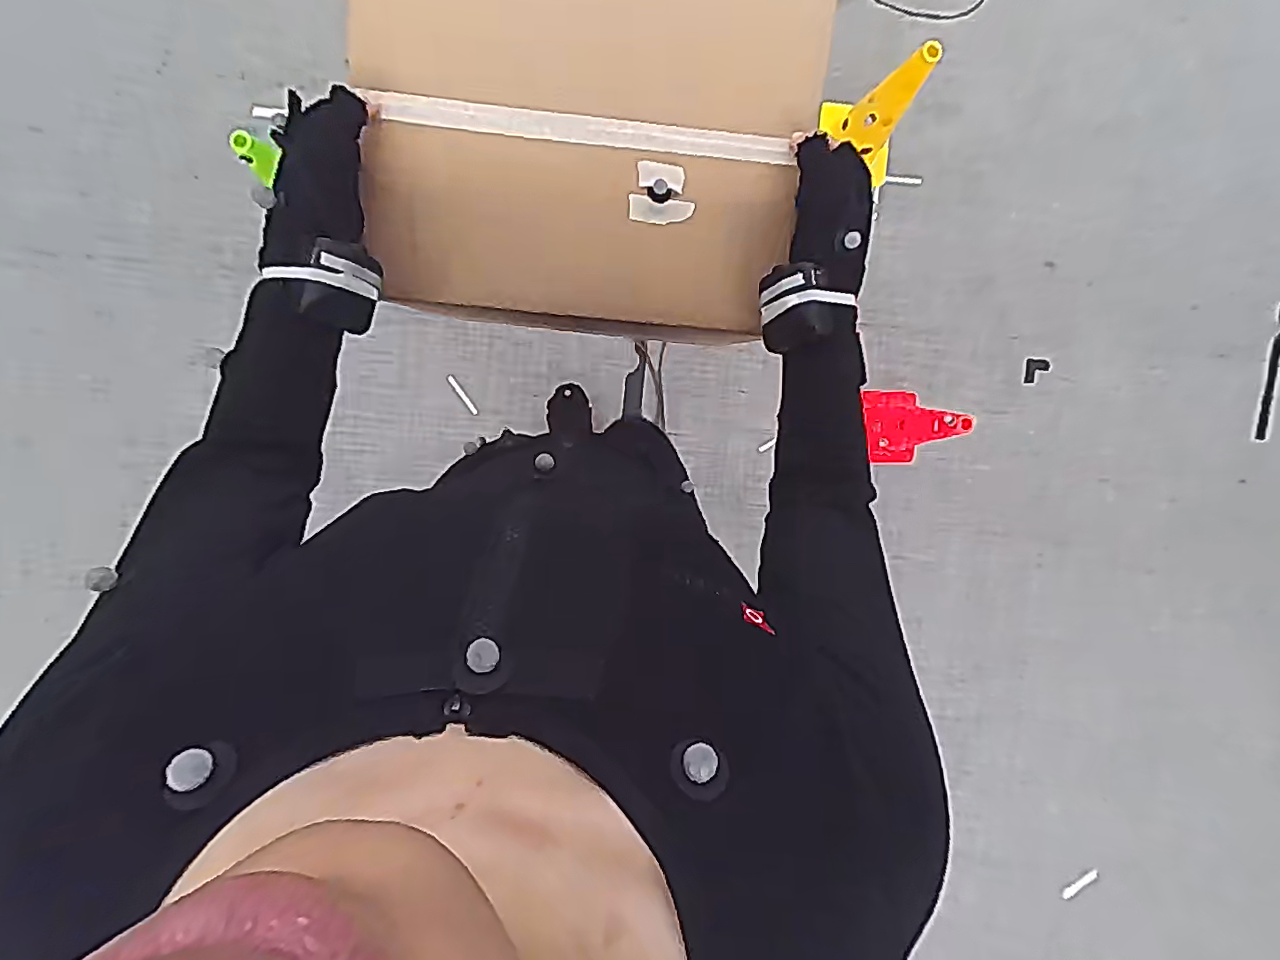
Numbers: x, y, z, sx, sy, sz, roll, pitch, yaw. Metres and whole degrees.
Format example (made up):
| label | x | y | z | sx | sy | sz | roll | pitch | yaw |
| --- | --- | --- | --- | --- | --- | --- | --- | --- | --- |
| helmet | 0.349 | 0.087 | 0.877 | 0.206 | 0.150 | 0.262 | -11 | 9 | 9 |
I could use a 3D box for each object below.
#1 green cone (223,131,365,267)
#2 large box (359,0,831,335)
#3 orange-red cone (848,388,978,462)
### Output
| label | x | y | z | sx | sy | sz | roll | pitch | yaw |
| --- | --- | --- | --- | --- | --- | --- | --- | --- | --- |
| green cone | -0.760 | -0.652 | 1.183 | 0.202 | 0.368 | 0.200 | -33 | 95 | 1 |
| large box | -0.052 | -0.348 | 0.622 | 0.408 | 0.320 | 0.320 | 5 | 103 | -4 |
| orange-red cone | 0.684 | -0.142 | 1.319 | 0.198 | 0.360 | 0.199 | 2 | 93 | -5 |
